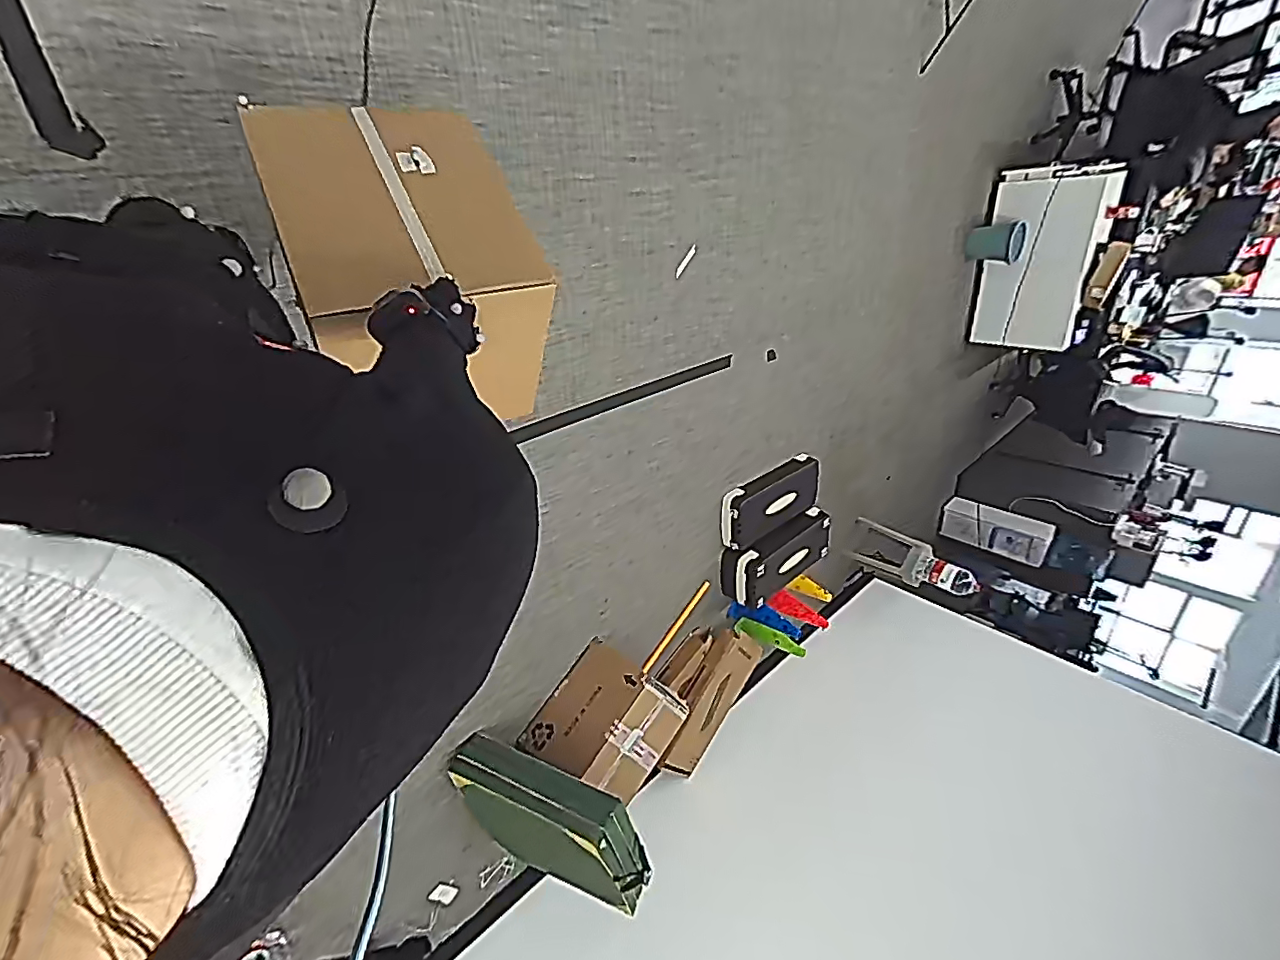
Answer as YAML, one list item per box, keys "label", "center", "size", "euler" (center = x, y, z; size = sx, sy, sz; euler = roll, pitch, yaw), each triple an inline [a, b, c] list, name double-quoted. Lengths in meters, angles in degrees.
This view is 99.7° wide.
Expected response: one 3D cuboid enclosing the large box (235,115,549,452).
- label: "large box"
  center: [-0.388, -0.319, 0.889]
  size: [0.320, 0.408, 0.320]
  euler: [-20, 158, -28]
